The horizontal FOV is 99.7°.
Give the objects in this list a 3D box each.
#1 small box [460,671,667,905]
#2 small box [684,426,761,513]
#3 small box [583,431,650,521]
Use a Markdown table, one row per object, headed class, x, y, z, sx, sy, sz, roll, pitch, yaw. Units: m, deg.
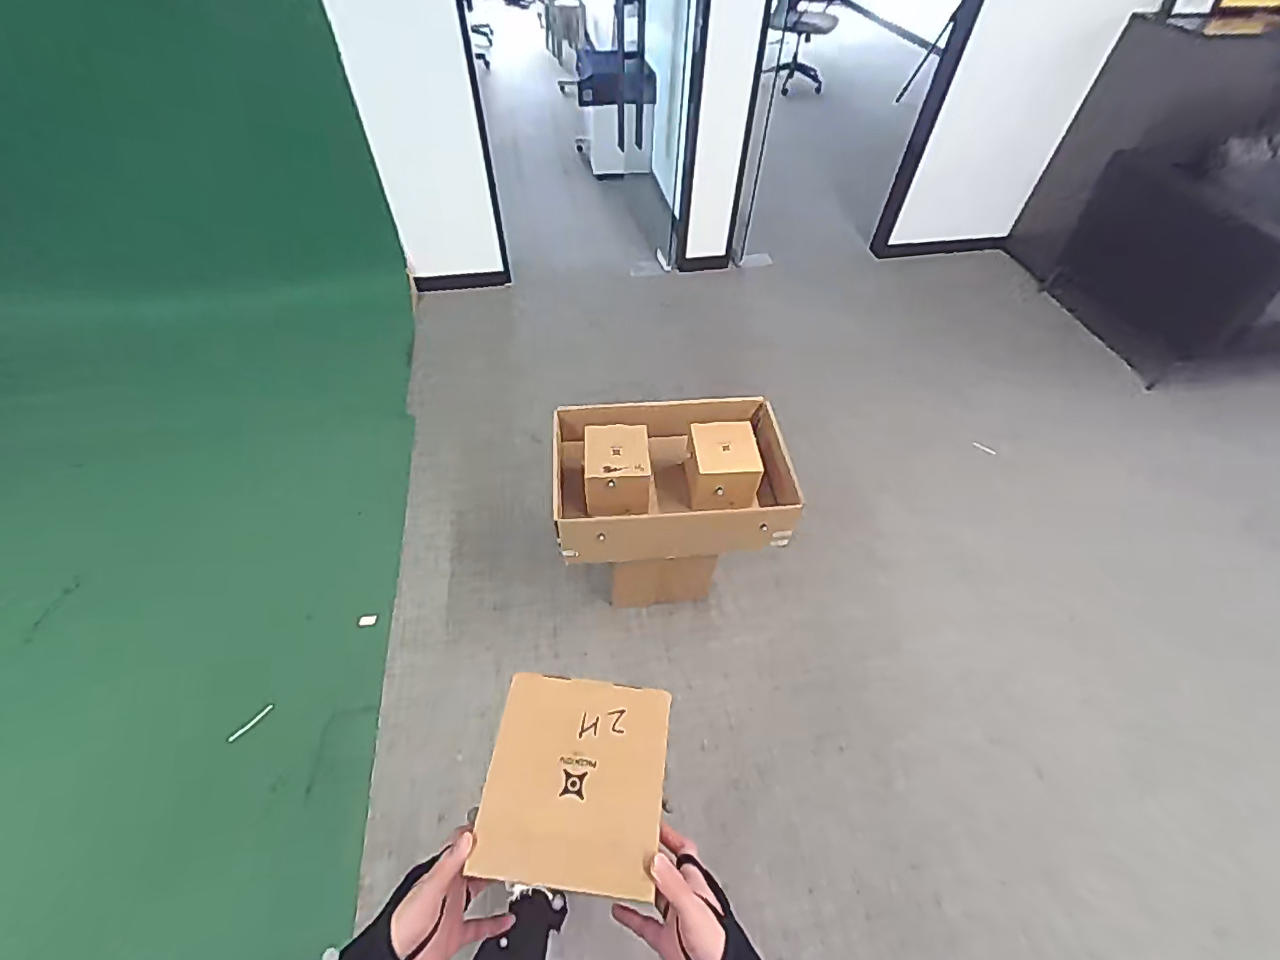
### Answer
| class | x | y | z | sx | sy | sz | roll | pitch | yaw |
| --- | --- | --- | --- | --- | --- | --- | --- | --- | --- |
| small box | -0.066 | 0.327 | 0.571 | 0.168 | 0.176 | 0.179 | 7 | 52 | 3 |
| small box | 0.215 | -0.023 | 1.457 | 0.168 | 0.176 | 0.179 | -3 | 51 | -4 |
| small box | -0.064 | -0.011 | 1.436 | 0.168 | 0.176 | 0.179 | -1 | 50 | -3 |
